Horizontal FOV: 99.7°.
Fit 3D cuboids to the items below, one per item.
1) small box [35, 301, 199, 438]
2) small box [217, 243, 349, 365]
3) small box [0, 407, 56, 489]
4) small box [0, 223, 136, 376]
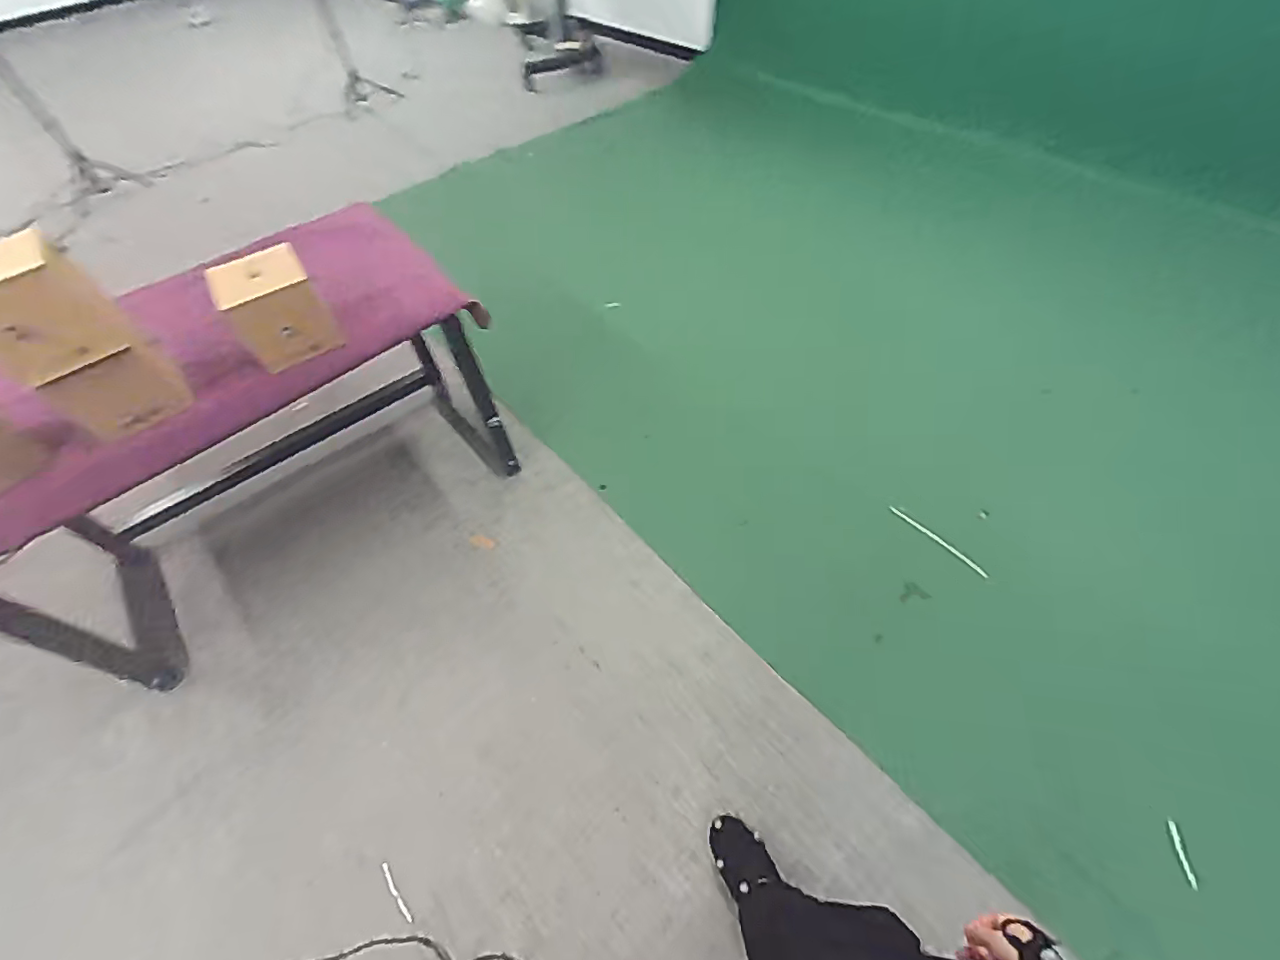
[{"bbox_3d":[-1.031,-0.217,1.074,0.168,0.176,0.179,-34,57,-18],"label":"small box"},{"bbox_3d":[-0.764,-0.373,1.170,0.168,0.176,0.179,-29,57,-17],"label":"small box"},{"bbox_3d":[-1.252,-0.071,0.980,0.168,0.176,0.179,20,57,18],"label":"small box"},{"bbox_3d":[-1.030,-0.305,0.937,0.168,0.176,0.179,-34,56,-19],"label":"small box"}]
